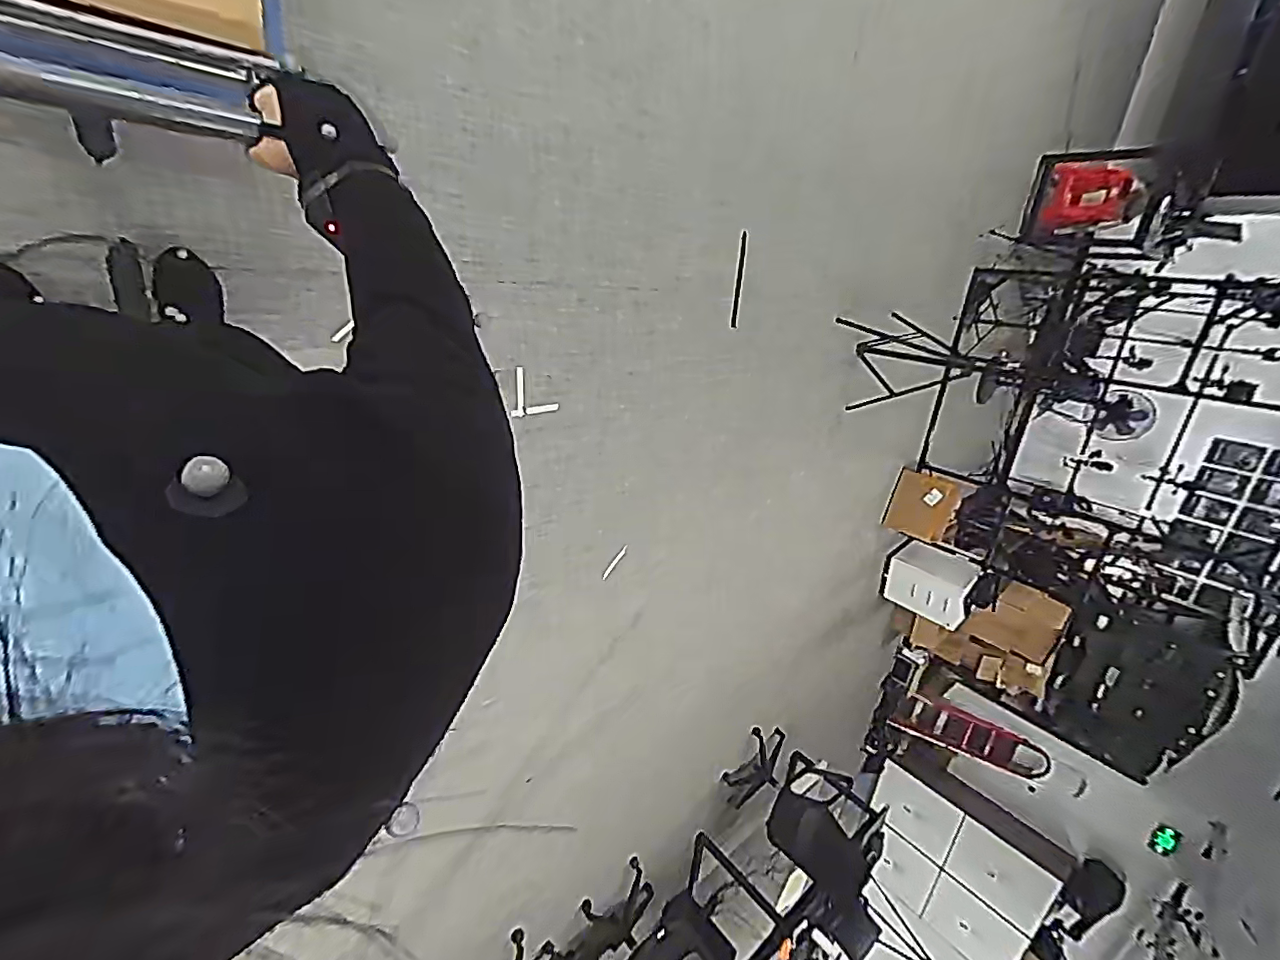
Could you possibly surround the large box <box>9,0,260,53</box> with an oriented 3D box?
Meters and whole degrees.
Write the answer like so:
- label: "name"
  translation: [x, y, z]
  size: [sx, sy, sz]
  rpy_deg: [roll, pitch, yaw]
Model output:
- label: "large box"
  translation: [-0.747, -0.765, 0.647]
  size: [0.408, 0.320, 0.320]
  rpy_deg: [-14, 127, -41]
